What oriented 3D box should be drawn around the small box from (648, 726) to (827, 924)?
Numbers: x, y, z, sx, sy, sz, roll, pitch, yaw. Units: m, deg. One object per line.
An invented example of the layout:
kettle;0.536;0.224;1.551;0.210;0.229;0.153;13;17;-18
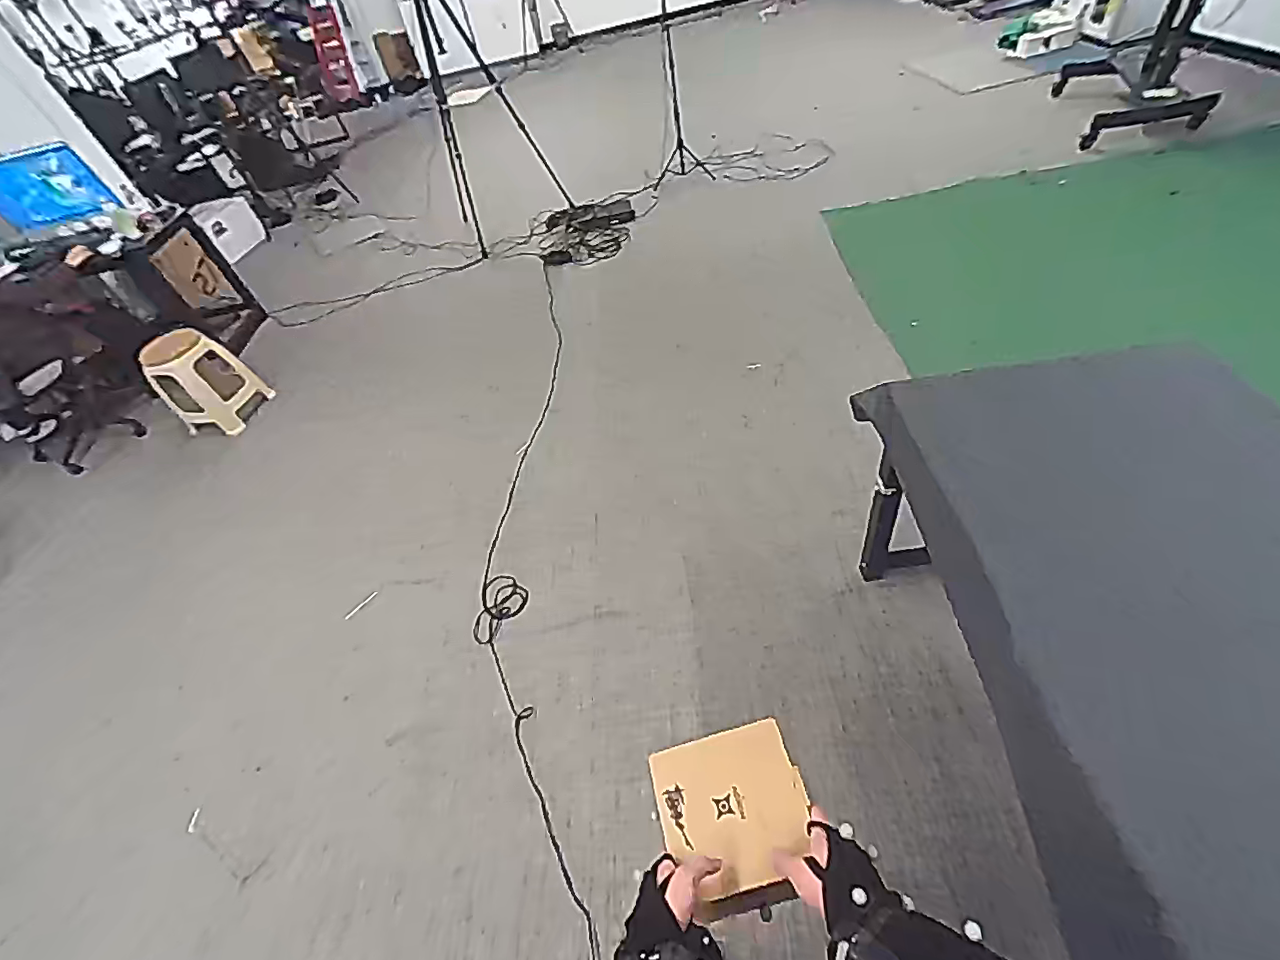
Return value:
small box;0.122;0.447;0.699;0.179;0.176;0.168;-16;45;1
